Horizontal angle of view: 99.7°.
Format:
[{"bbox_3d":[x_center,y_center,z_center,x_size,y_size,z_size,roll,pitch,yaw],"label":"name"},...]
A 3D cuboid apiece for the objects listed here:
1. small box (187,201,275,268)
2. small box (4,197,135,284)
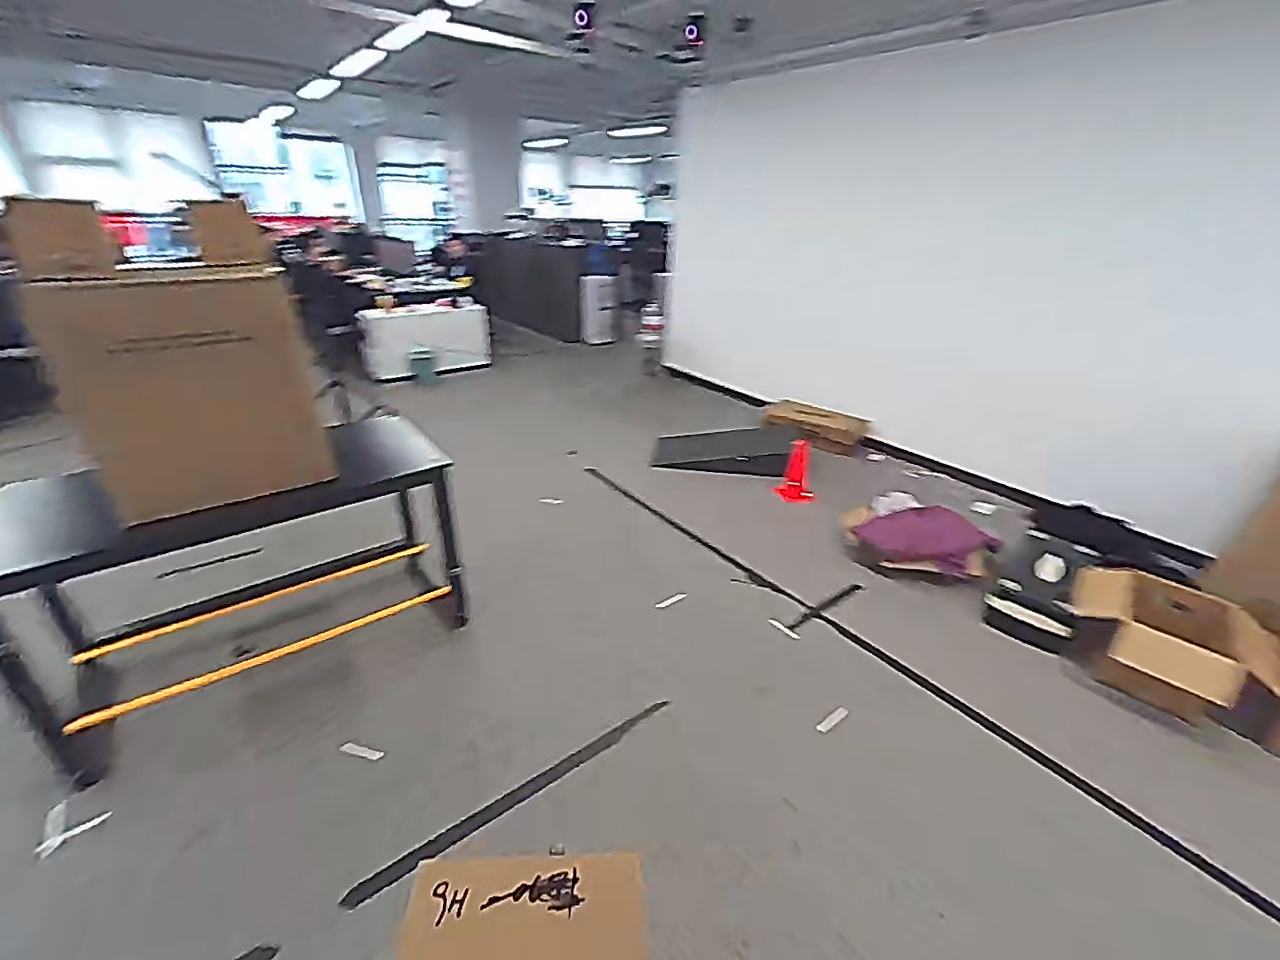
[{"bbox_3d":[-1.195,-0.715,1.581,0.168,0.176,0.179,-20,32,-34],"label":"small box"},{"bbox_3d":[-1.330,-0.564,1.275,0.168,0.176,0.179,-17,34,-35],"label":"small box"}]
